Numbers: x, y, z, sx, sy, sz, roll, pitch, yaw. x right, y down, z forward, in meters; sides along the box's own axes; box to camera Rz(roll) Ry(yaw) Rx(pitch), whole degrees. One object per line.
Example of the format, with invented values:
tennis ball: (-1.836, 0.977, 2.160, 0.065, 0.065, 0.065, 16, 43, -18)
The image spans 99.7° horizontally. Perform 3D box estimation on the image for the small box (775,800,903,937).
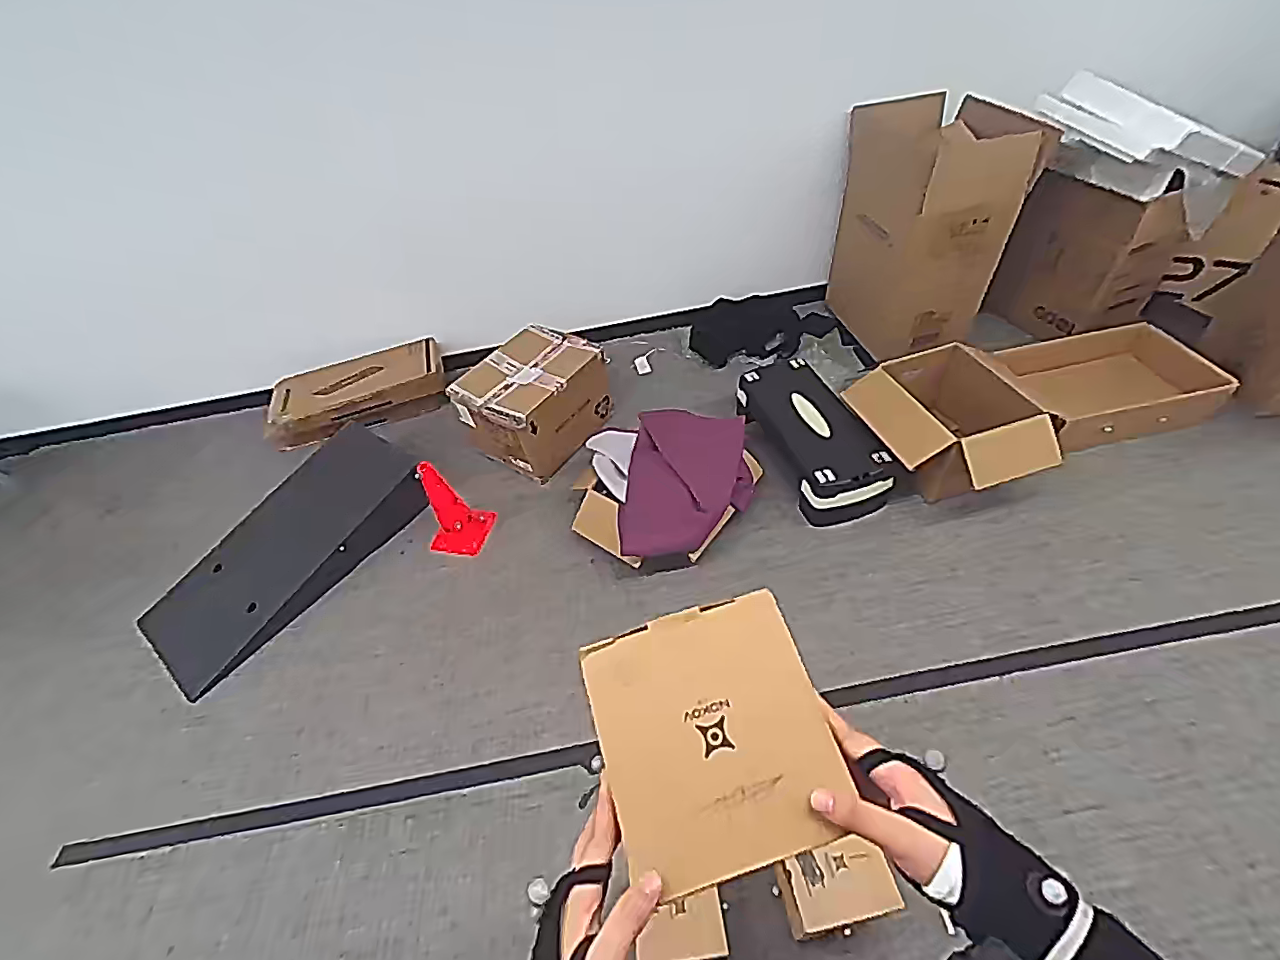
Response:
small box: (0.345, 0.716, 0.995, 0.179, 0.176, 0.168, -12, 47, -3)

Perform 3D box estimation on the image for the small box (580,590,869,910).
small box: (0.056, 0.218, 0.460, 0.168, 0.176, 0.179, -16, 64, -5)

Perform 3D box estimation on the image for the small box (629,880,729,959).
small box: (0.079, 0.883, 1.108, 0.179, 0.176, 0.168, -10, 47, 1)
